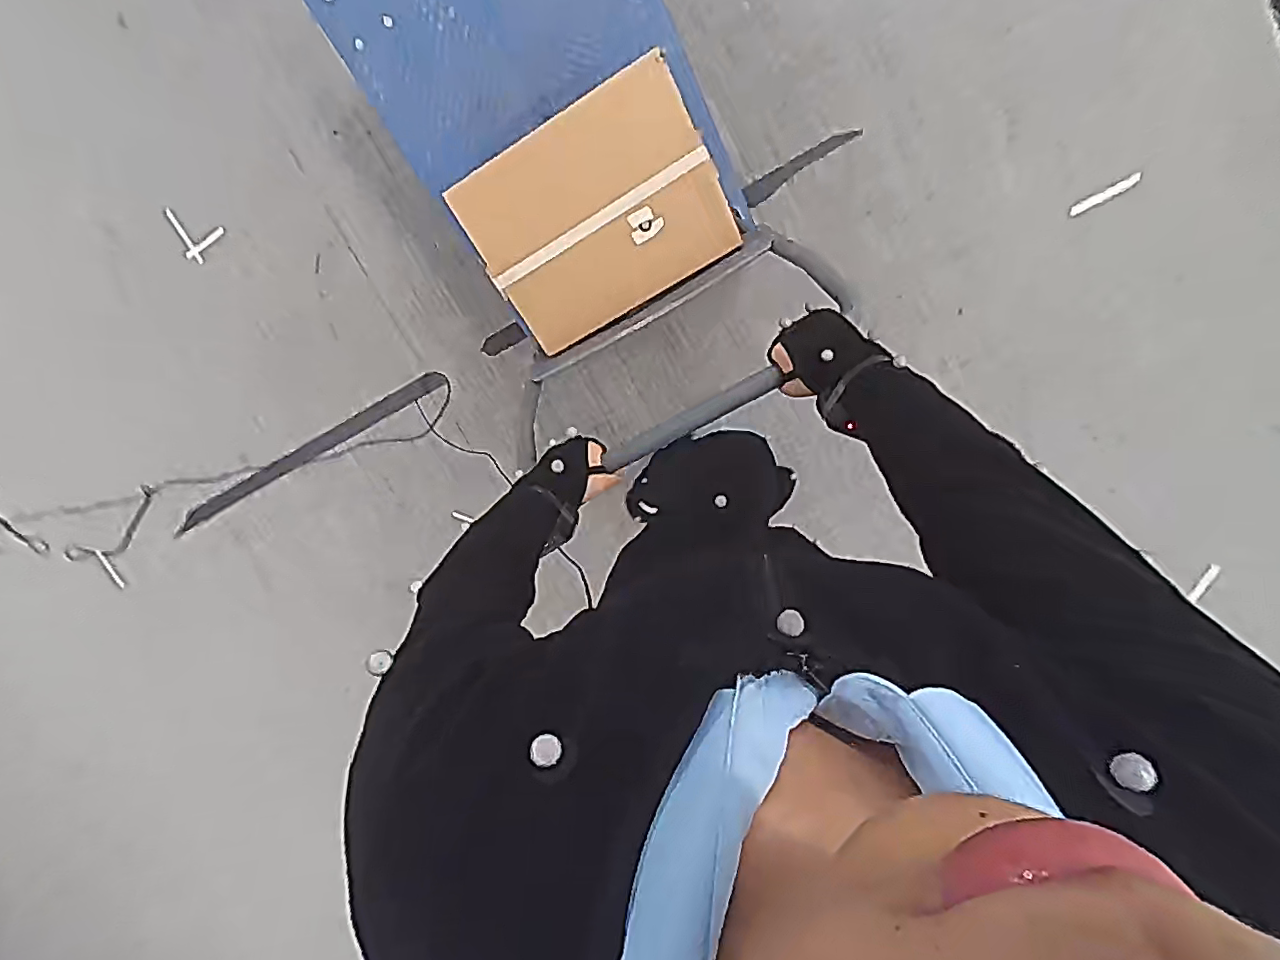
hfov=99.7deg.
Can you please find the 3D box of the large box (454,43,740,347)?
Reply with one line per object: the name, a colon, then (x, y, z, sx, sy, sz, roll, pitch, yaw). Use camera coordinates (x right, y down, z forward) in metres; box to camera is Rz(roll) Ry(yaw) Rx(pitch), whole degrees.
large box: (-0.077, -0.522, 1.050, 0.408, 0.320, 0.320, -29, 117, 10)
